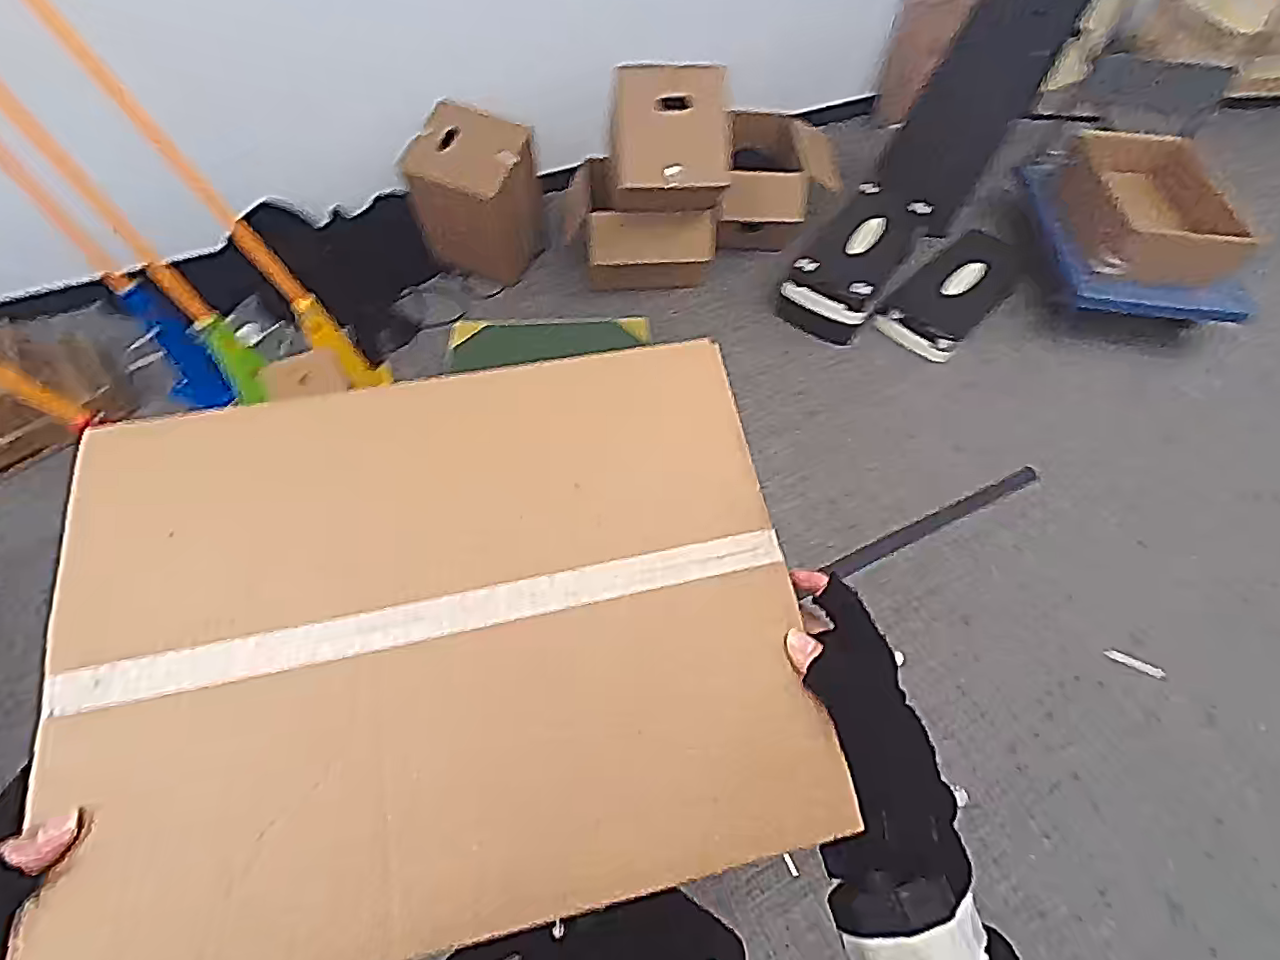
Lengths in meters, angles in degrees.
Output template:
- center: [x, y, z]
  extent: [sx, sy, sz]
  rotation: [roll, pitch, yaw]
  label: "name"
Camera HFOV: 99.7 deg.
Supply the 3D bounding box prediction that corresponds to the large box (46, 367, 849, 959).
- center: [-0.115, 0.143, 0.455]
  extent: [0.408, 0.320, 0.320]
  rotation: [-9, 70, -7]
  label: "large box"
